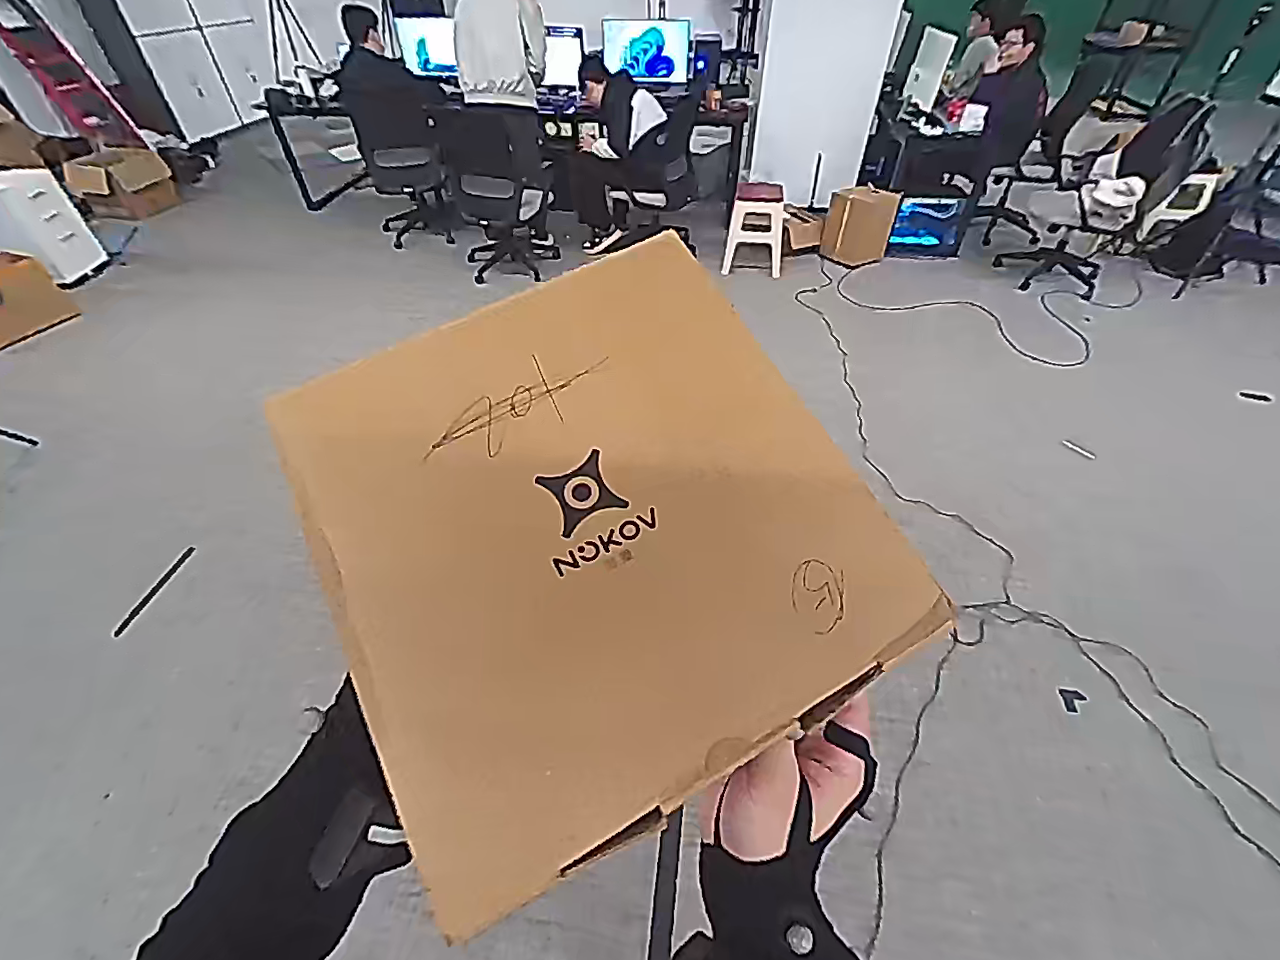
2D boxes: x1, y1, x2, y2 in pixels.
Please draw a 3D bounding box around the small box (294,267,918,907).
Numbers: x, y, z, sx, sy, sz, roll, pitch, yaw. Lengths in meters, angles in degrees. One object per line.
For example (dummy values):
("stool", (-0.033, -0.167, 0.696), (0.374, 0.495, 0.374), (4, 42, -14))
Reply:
("small box", (-0.019, 0.043, 0.263), (0.168, 0.176, 0.179), (-27, 70, -12))
